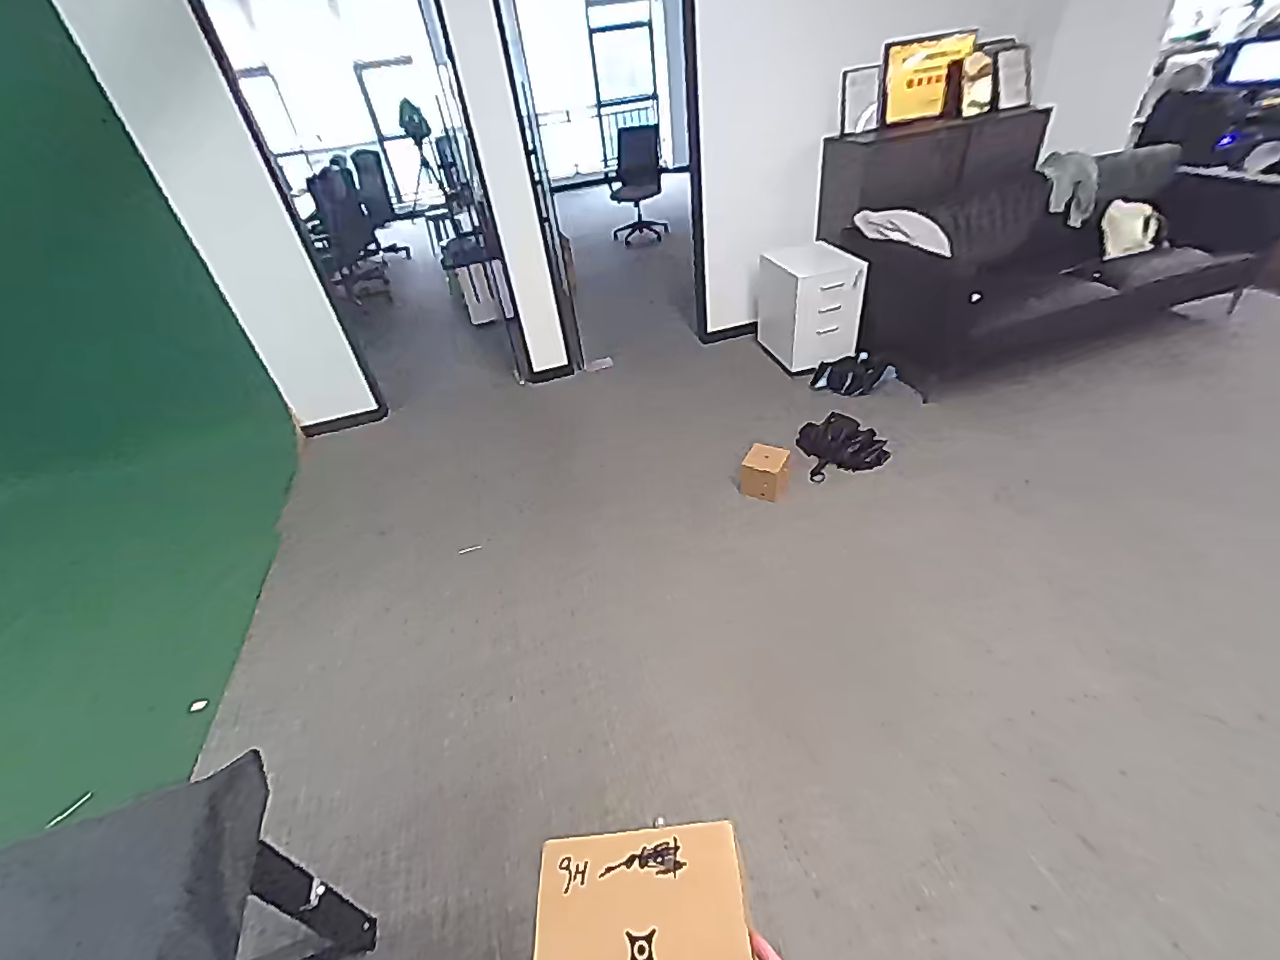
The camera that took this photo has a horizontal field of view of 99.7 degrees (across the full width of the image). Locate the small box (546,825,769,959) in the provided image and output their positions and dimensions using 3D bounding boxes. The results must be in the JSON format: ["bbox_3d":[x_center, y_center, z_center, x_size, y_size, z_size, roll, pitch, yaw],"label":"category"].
[{"bbox_3d":[0.024,0.412,0.445,0.168,0.176,0.179,-8,42,5],"label":"small box"}]
